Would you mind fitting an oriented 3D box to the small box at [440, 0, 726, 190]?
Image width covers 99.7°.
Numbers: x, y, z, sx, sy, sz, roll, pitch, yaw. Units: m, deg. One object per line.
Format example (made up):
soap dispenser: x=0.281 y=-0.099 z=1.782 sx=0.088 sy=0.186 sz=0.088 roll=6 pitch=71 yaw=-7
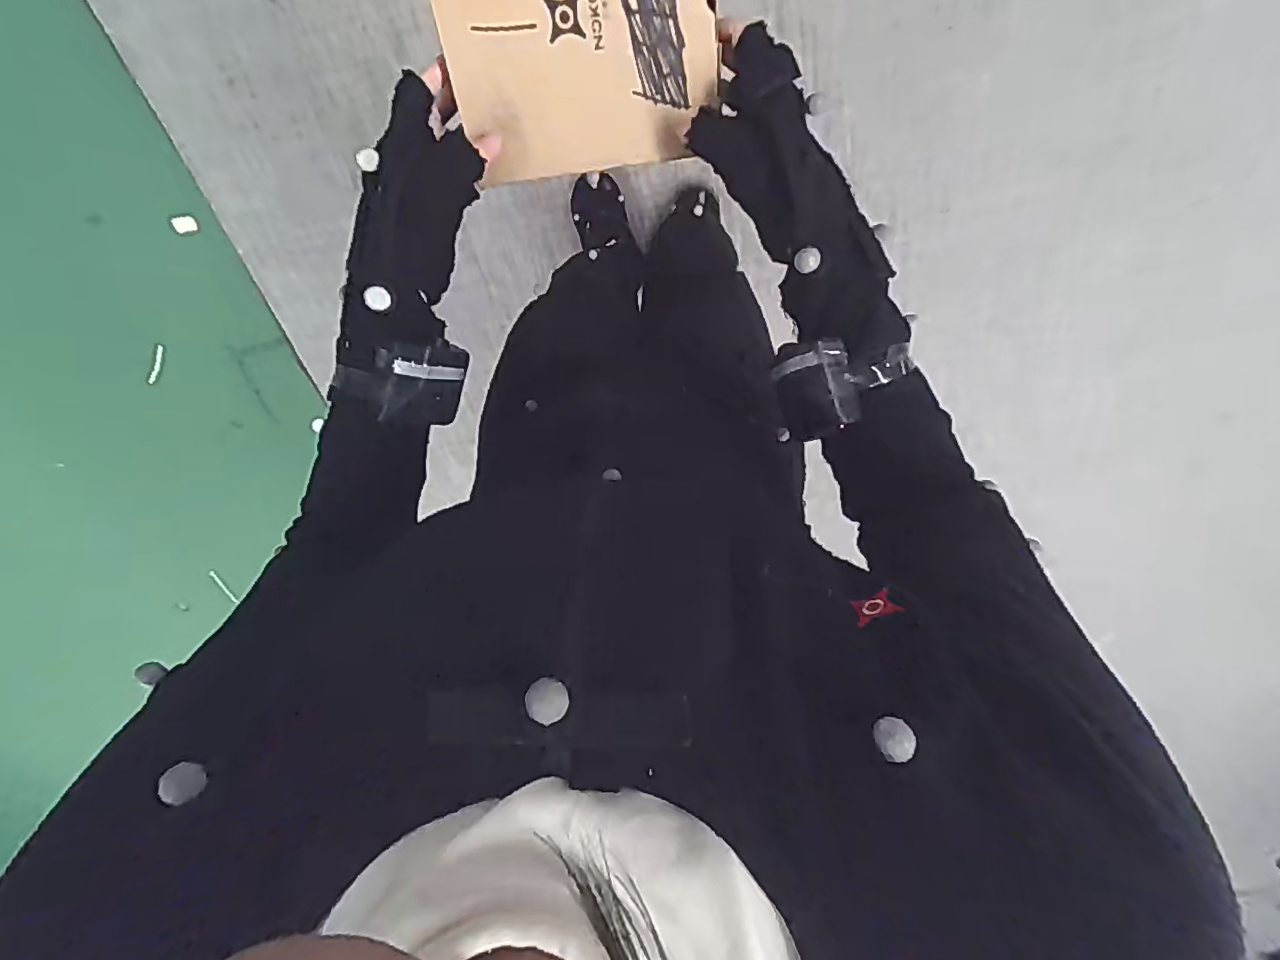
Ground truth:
small box: x=-0.037 y=-0.330 z=0.406 sx=0.179 sy=0.176 sz=0.168 roll=-7 pitch=124 yaw=3
